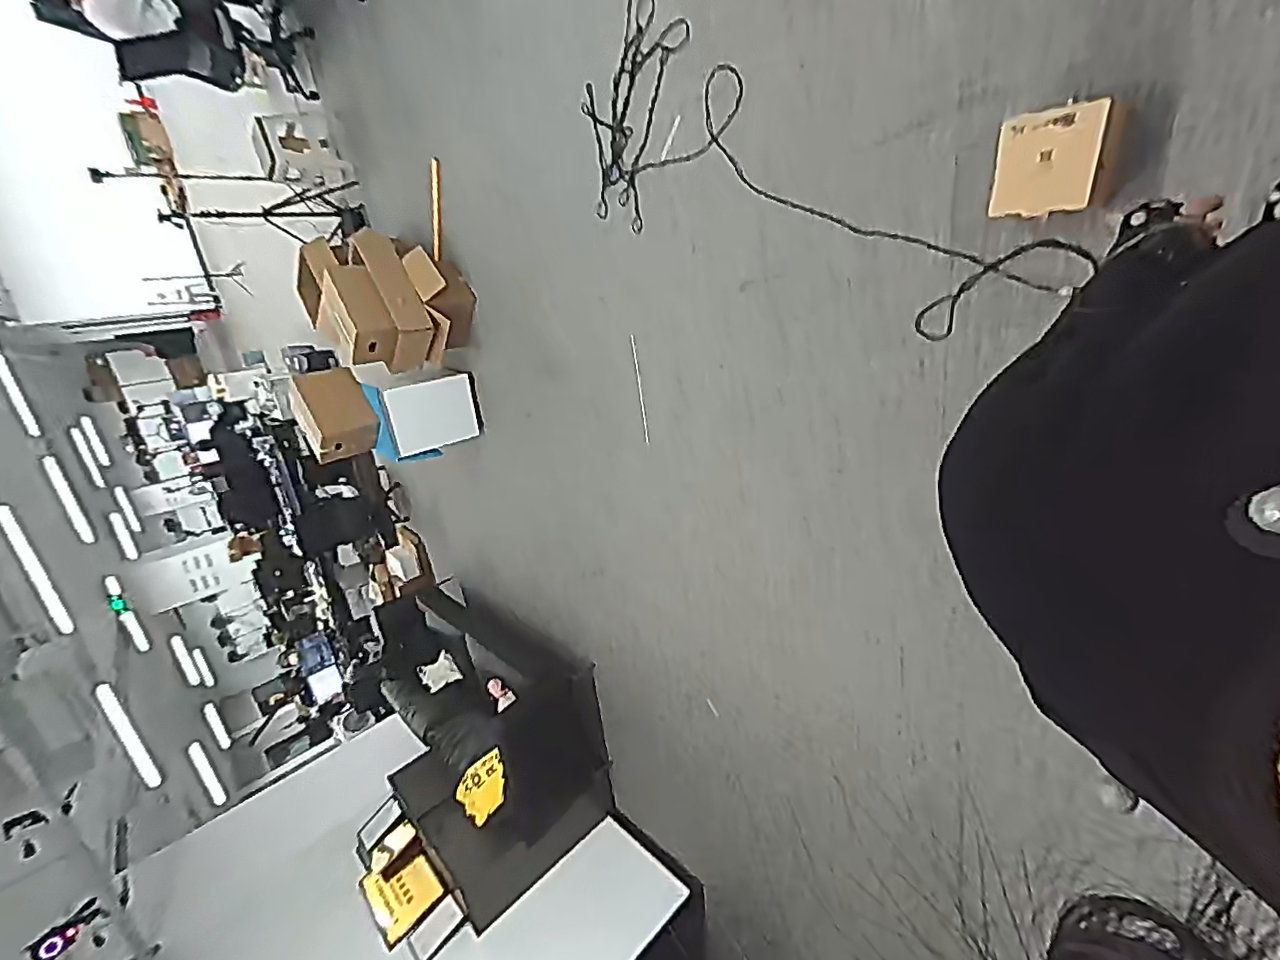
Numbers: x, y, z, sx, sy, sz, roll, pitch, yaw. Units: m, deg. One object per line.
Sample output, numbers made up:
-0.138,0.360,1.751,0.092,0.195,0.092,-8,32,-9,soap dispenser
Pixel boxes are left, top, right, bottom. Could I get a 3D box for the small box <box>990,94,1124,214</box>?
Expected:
0.822,-0.633,1.067,0.168,0.176,0.179,18,122,43,small box
